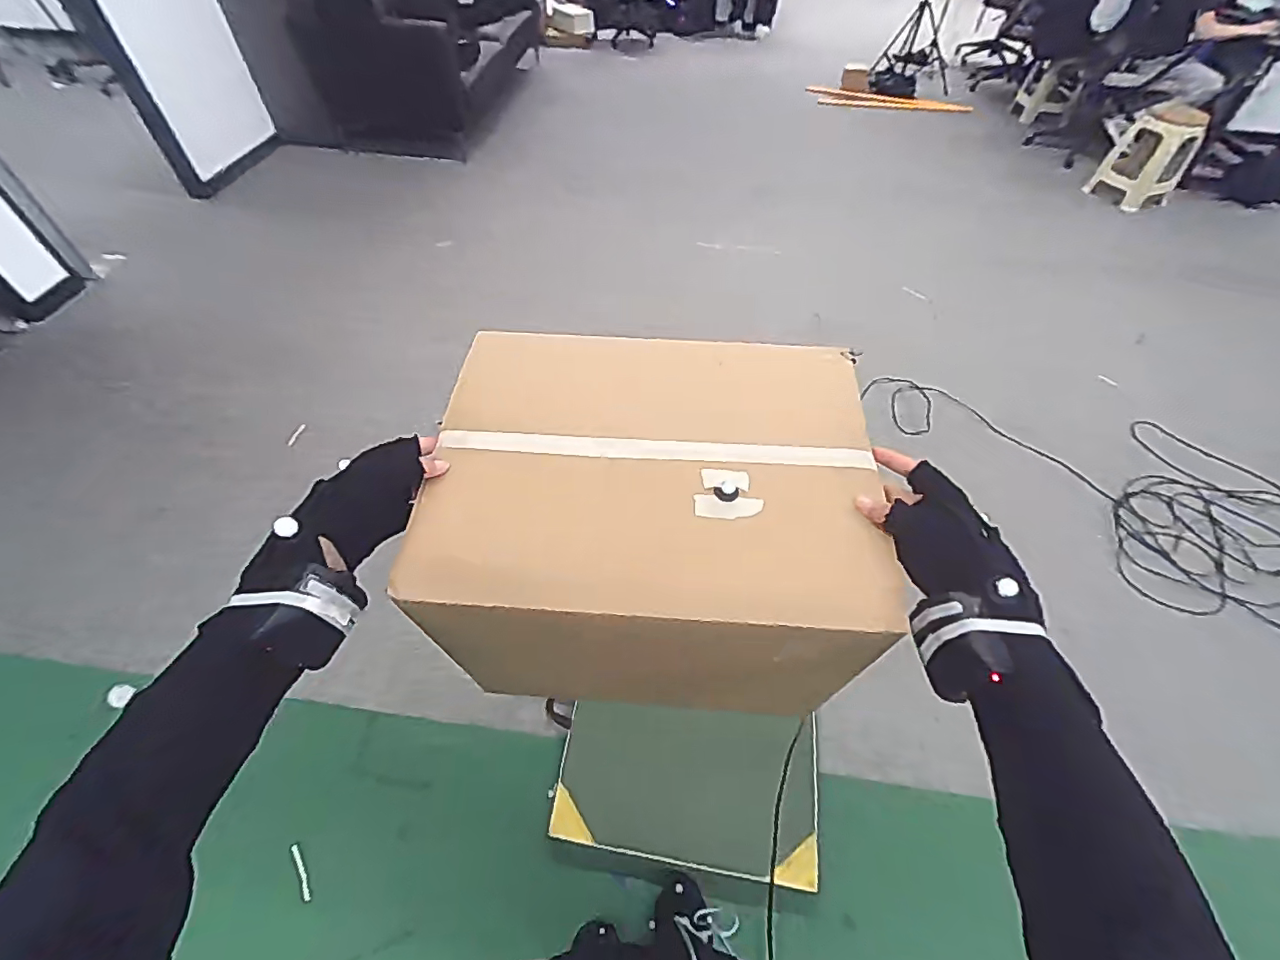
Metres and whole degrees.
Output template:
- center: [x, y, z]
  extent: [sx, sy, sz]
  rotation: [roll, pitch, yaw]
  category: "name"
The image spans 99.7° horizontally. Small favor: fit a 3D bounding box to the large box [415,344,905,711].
- center: [0.019, 0.067, 0.637]
  extent: [0.408, 0.320, 0.320]
  rotation: [4, 56, 2]
  category: "large box"
